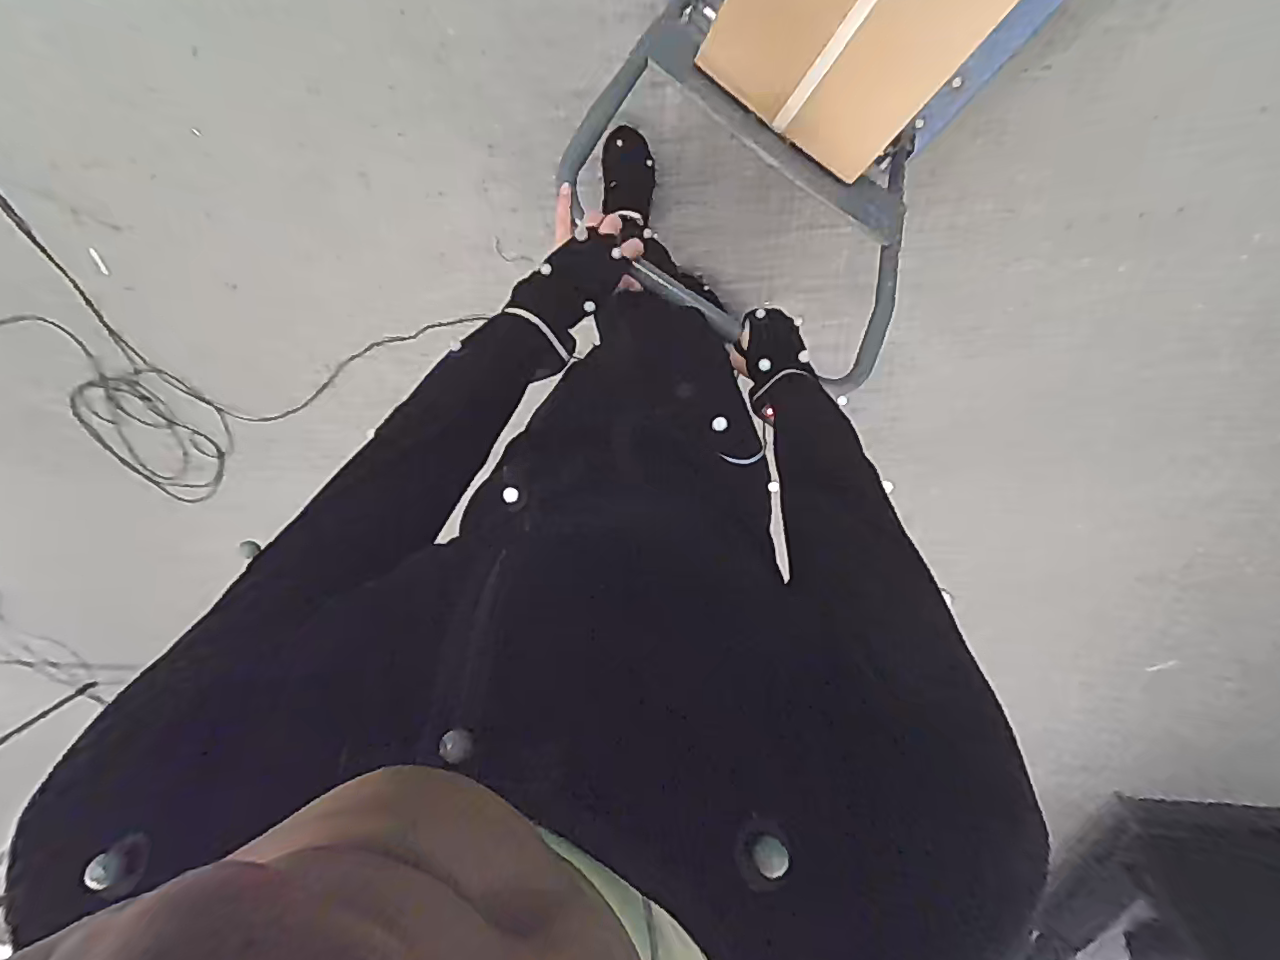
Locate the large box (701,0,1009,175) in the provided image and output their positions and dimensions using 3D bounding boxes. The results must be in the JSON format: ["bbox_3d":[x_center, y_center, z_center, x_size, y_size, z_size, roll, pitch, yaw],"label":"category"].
[{"bbox_3d":[0.344,-0.762,0.775,0.320,0.320,0.408,29,144,-15],"label":"large box"}]
